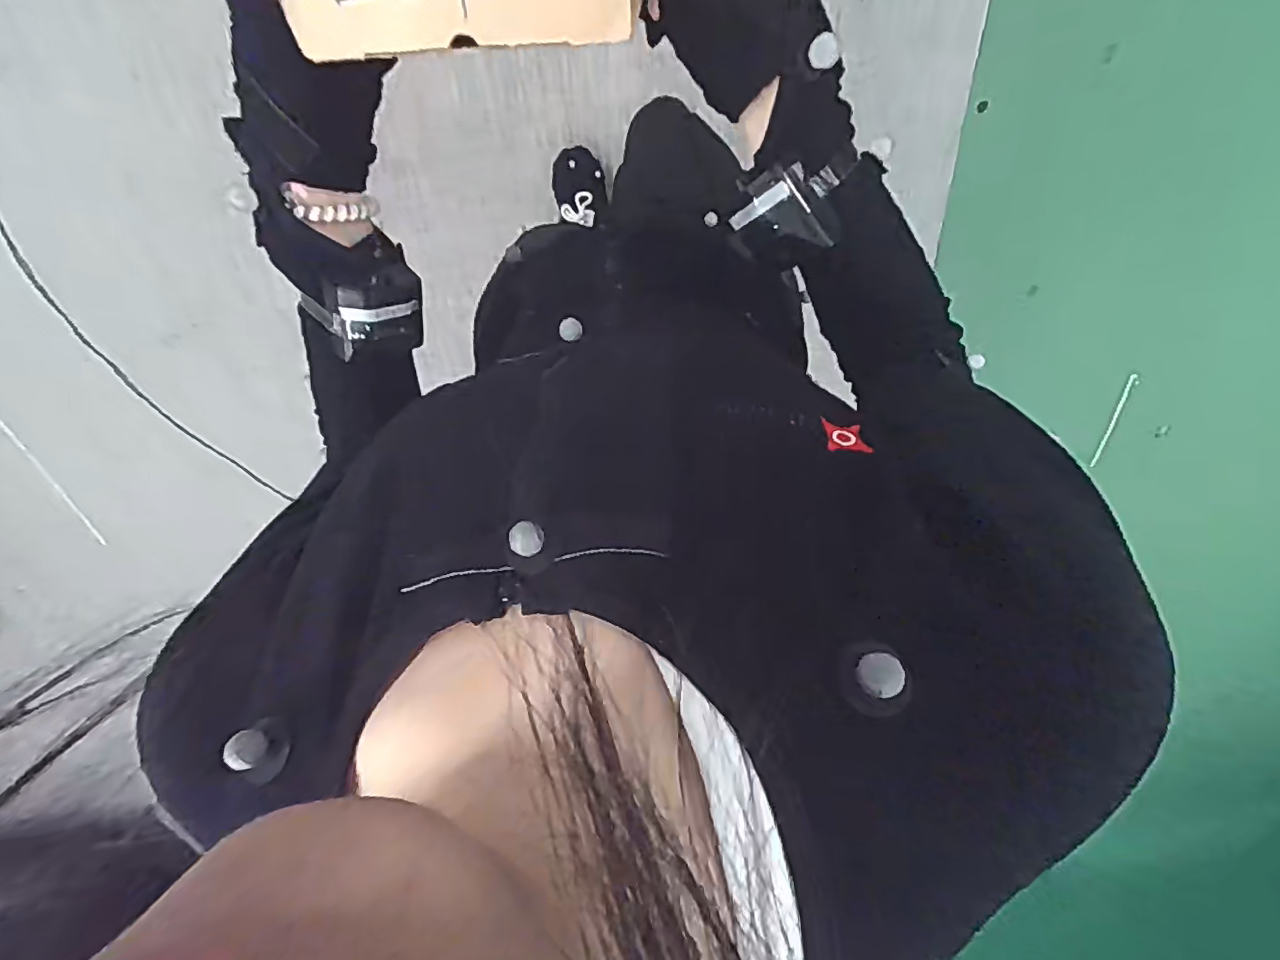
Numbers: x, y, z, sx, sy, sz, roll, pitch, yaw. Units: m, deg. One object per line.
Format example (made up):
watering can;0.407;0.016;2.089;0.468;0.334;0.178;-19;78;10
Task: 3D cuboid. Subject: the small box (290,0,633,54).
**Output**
small box;-0.082;-0.328;0.244;0.168;0.176;0.179;0;142;4
